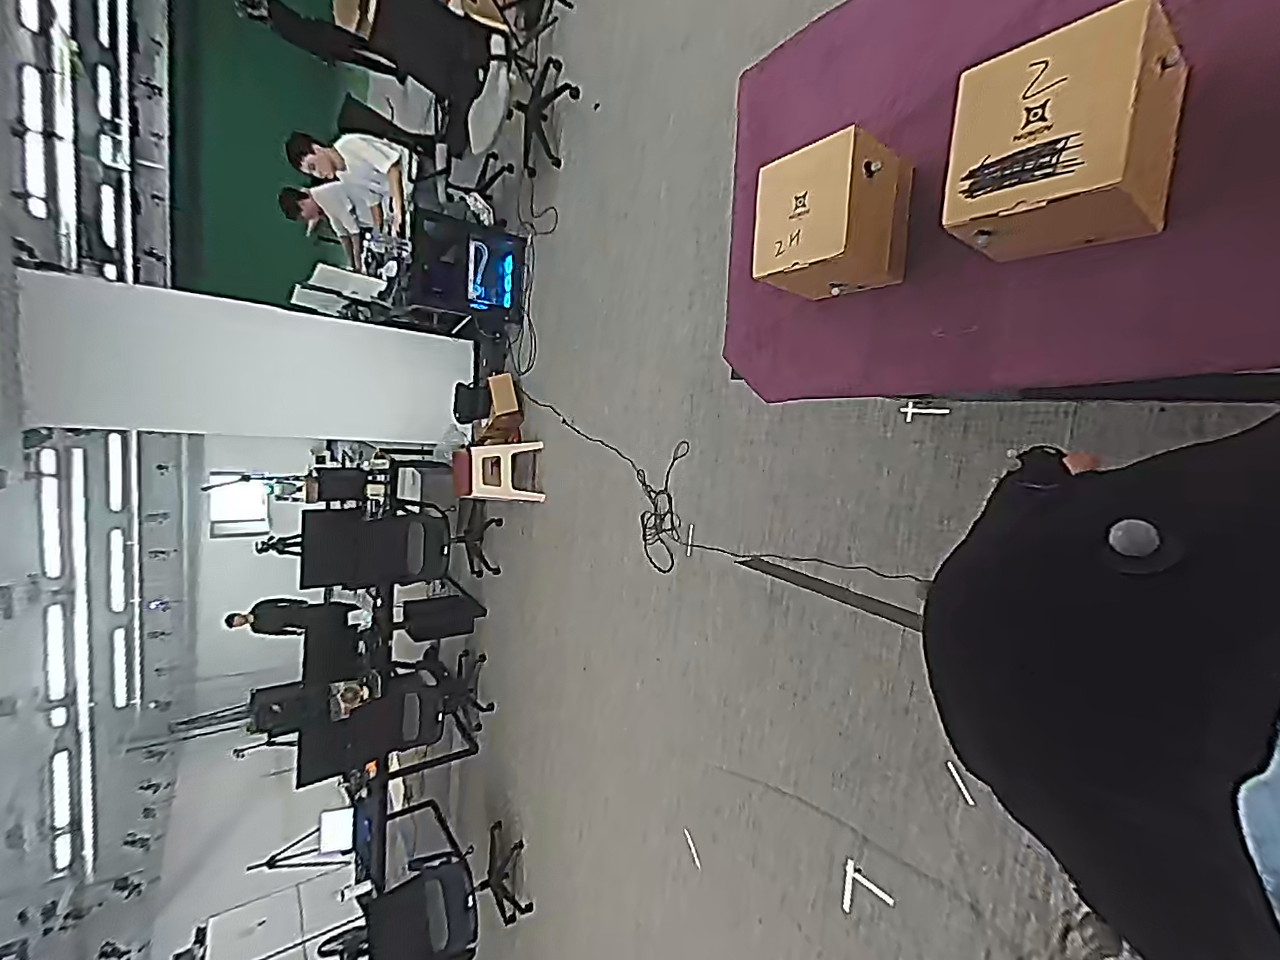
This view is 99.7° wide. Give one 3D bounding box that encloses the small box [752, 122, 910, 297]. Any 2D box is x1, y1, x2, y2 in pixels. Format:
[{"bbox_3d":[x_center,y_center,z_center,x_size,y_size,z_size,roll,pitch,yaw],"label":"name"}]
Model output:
[{"bbox_3d":[0.296,-0.400,0.836,0.168,0.176,0.179,8,97,52],"label":"small box"}]
